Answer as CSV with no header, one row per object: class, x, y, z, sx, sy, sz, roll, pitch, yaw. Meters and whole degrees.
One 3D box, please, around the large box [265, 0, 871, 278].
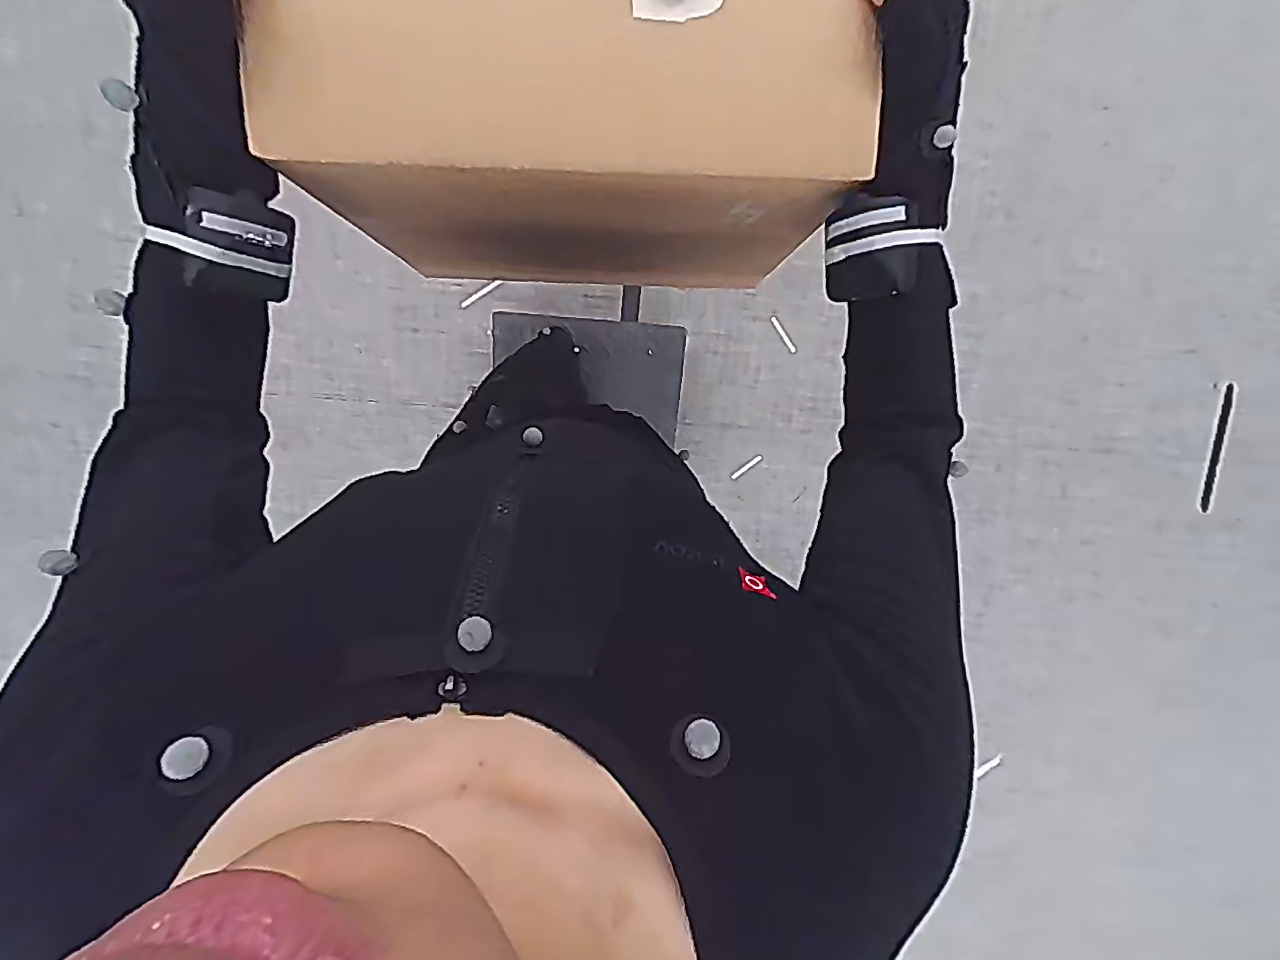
large box,-0.050,-0.383,0.497,0.408,0.320,0.320,1,97,-3
